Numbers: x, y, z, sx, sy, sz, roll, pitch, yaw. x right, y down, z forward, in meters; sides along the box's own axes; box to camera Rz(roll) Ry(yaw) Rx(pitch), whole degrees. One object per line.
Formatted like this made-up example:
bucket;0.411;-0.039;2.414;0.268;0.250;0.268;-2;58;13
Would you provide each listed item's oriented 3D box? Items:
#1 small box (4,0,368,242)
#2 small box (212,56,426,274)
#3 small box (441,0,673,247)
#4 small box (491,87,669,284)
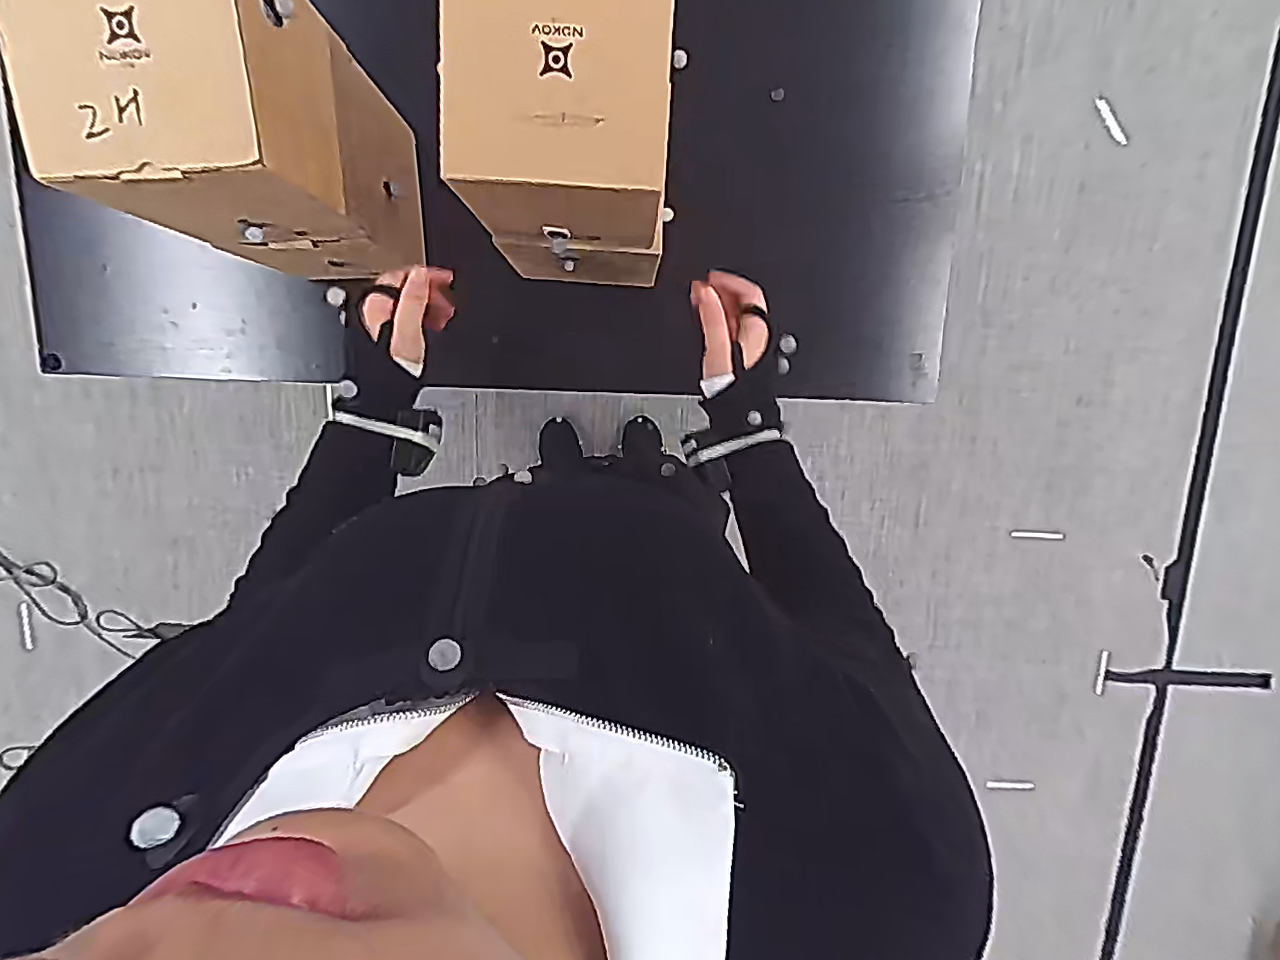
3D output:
small box;-0.358;-0.321;0.459;0.168;0.176;0.179;-4;99;0
small box;-0.362;-0.341;0.623;0.168;0.176;0.179;-2;99;0
small box;-0.062;-0.319;0.468;0.168;0.176;0.179;3;99;0
small box;-0.064;-0.334;0.630;0.179;0.176;0.168;4;98;-2
